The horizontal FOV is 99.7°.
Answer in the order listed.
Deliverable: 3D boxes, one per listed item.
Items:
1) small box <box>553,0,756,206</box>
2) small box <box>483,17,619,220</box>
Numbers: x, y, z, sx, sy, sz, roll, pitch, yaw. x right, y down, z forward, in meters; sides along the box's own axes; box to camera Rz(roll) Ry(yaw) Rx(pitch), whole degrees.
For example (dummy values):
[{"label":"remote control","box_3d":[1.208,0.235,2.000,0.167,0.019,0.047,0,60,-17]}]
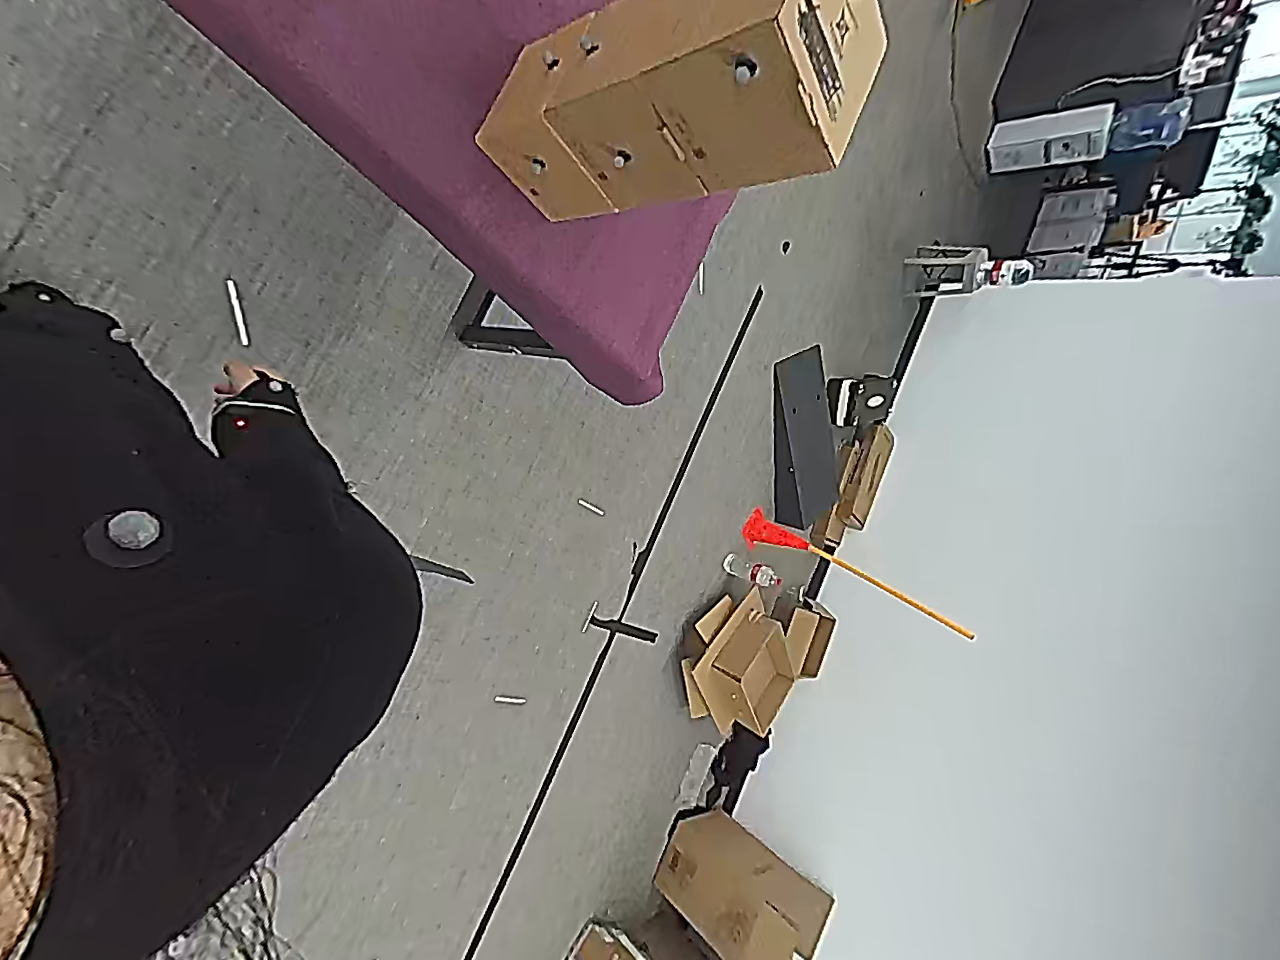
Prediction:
[{"label":"small box","box_3d":[0.015,-0.485,0.698,0.168,0.176,0.179,35,77,-47]},{"label":"small box","box_3d":[-0.106,-0.516,0.804,0.168,0.176,0.179,34,77,-48]}]
